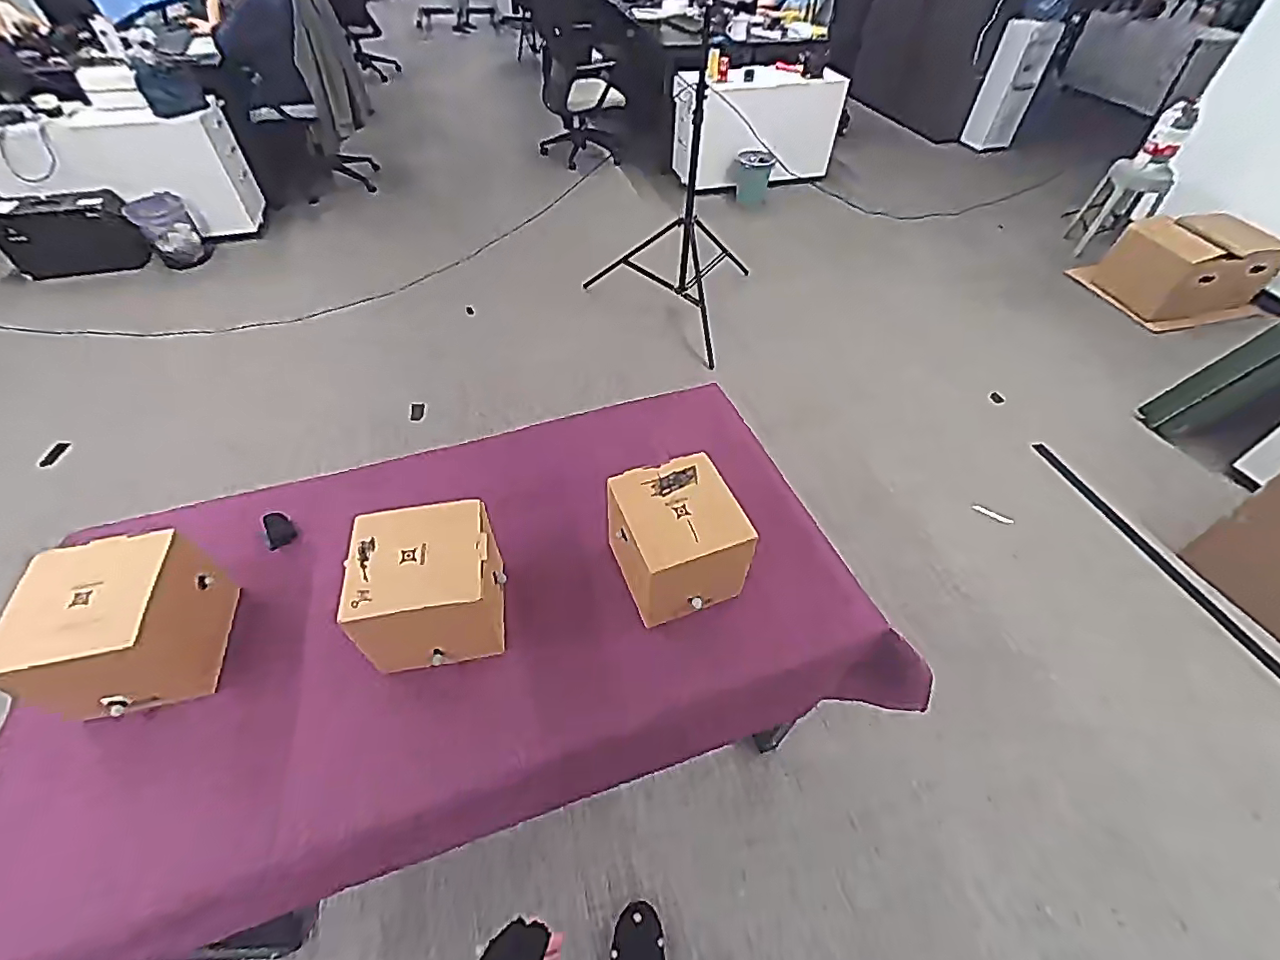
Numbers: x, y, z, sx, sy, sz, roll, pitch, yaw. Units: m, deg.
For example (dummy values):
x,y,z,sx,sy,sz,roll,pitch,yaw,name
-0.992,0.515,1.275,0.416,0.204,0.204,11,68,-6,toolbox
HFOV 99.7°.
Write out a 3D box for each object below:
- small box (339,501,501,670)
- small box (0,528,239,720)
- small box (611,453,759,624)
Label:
x,y,z,sx,sy,sz,roll,pitch,yaw,name
-0.296,0.153,0.774,0.179,0.176,0.168,-7,50,-8,small box
-0.683,0.194,0.727,0.168,0.176,0.179,-11,51,-10,small box
0.057,0.091,0.836,0.168,0.176,0.179,-16,52,-14,small box
